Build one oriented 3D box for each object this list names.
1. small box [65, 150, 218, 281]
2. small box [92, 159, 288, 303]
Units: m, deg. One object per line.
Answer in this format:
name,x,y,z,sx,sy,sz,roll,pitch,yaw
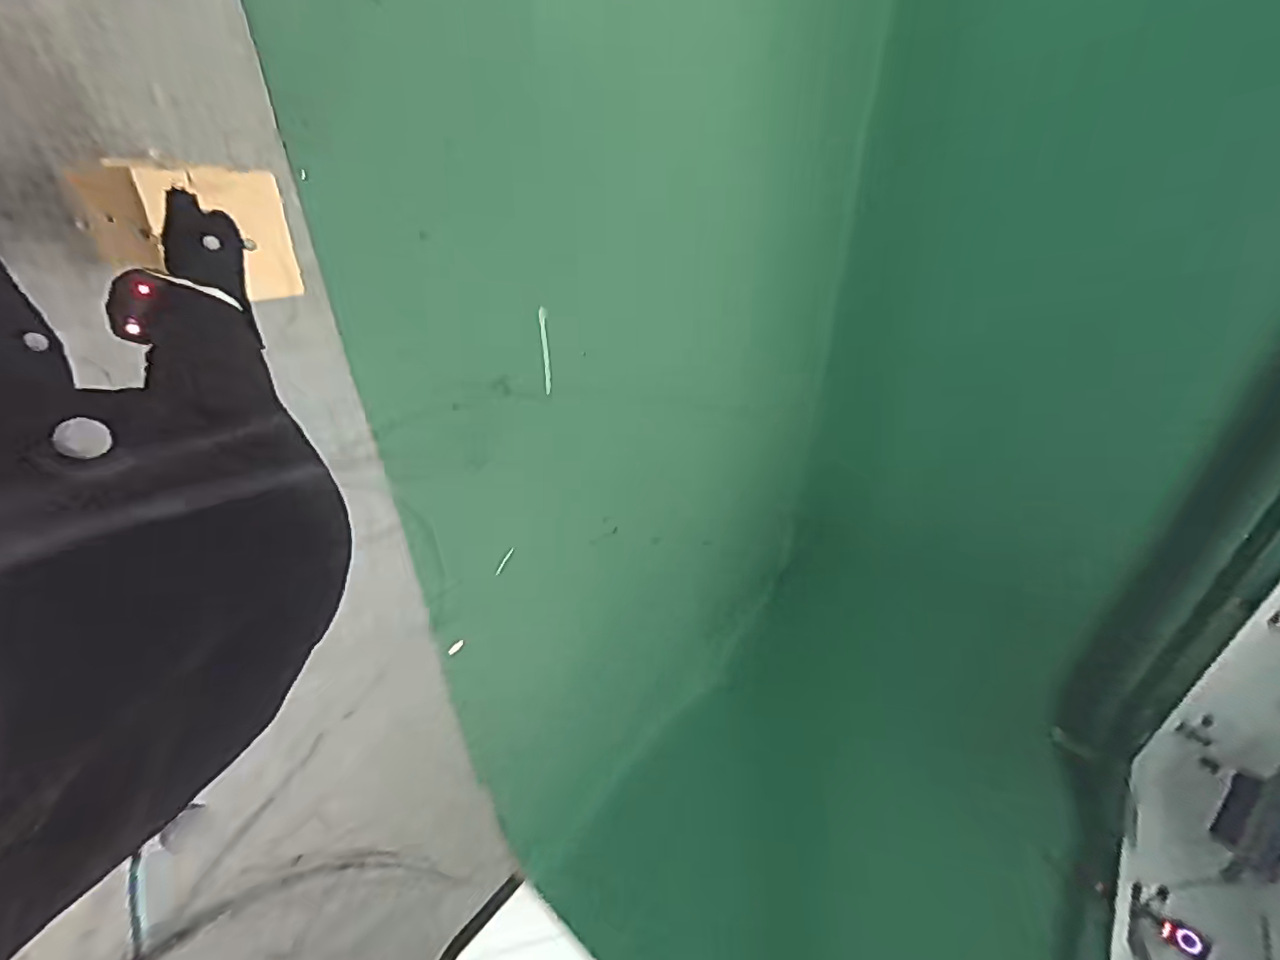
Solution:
small box,-0.797,-0.438,0.897,0.168,0.176,0.179,-28,131,-44
small box,-0.671,-0.377,0.814,0.168,0.176,0.179,-28,130,-43
